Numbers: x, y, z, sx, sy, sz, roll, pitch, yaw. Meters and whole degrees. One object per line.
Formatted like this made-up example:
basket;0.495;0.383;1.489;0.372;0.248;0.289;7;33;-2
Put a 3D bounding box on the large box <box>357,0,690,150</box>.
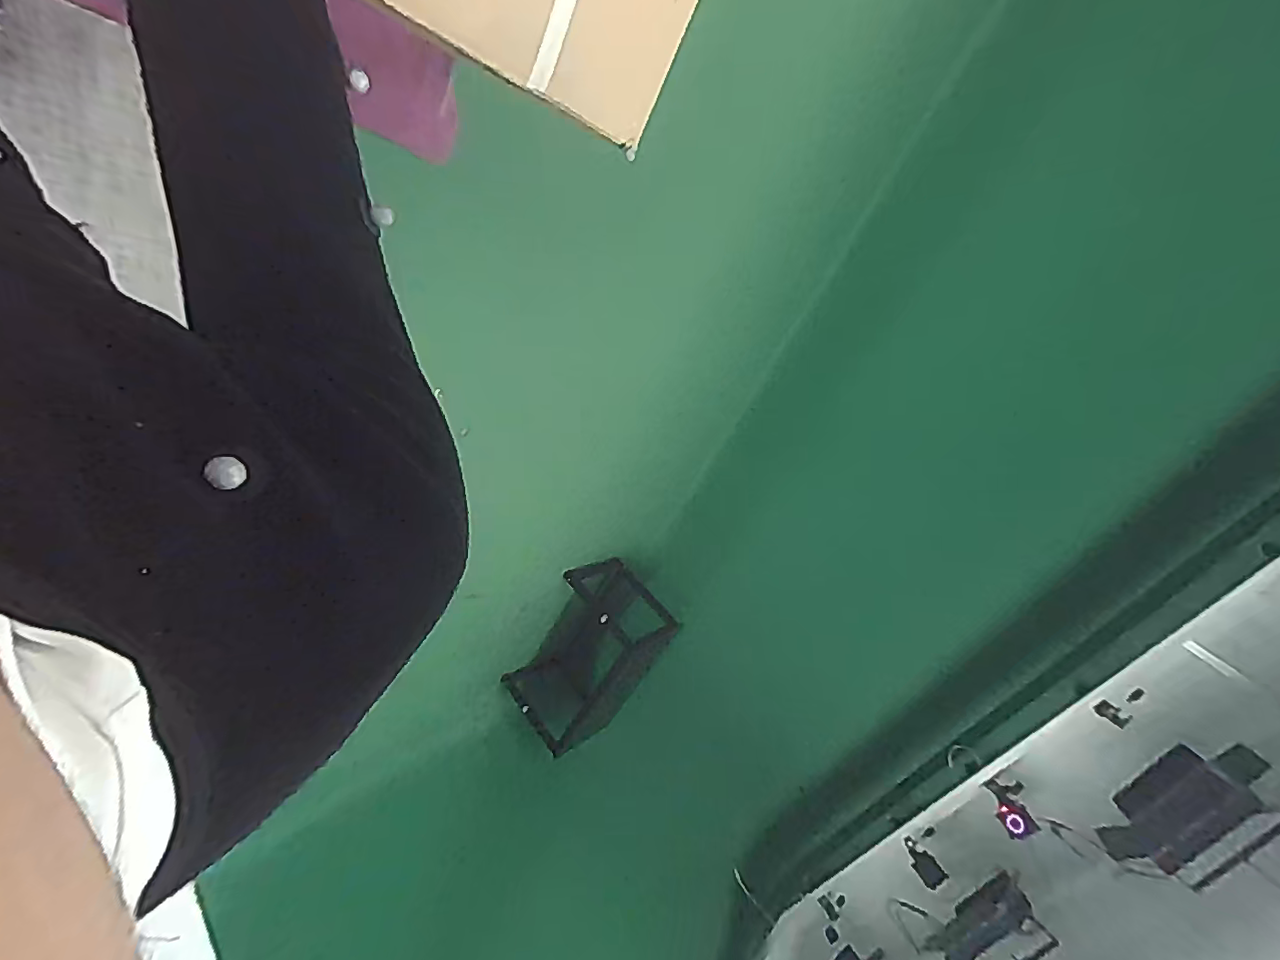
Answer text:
large box;-0.116;-0.614;0.484;0.320;0.320;0.408;-8;136;-51
